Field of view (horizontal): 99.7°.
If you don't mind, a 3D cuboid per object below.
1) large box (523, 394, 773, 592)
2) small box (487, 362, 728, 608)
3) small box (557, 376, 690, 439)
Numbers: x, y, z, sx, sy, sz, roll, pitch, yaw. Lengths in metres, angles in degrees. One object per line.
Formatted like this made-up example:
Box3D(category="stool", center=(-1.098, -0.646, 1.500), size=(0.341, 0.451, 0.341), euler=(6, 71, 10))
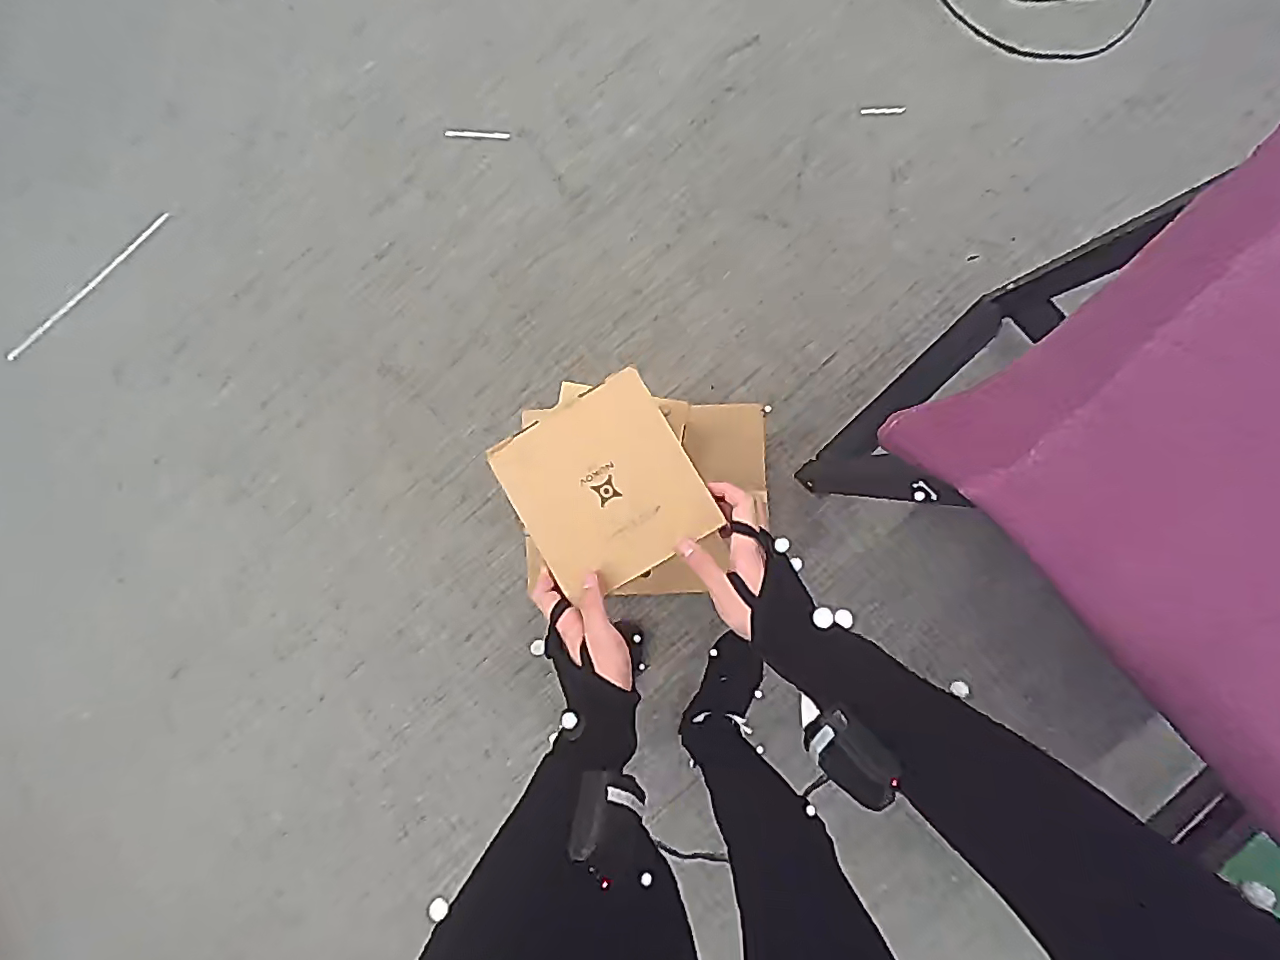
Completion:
Box3D(category="large box", center=(0.011, 0.020, 1.035), size=(0.408, 0.320, 0.320), euler=(-2, 92, 0))
Box3D(category="small box", center=(-0.030, 0.008, 0.570), size=(0.168, 0.176, 0.179), euler=(-30, 87, 1))
Box3D(category="small box", center=(-0.032, -0.042, 0.790), size=(0.179, 0.176, 0.168), euler=(9, 89, 0))
